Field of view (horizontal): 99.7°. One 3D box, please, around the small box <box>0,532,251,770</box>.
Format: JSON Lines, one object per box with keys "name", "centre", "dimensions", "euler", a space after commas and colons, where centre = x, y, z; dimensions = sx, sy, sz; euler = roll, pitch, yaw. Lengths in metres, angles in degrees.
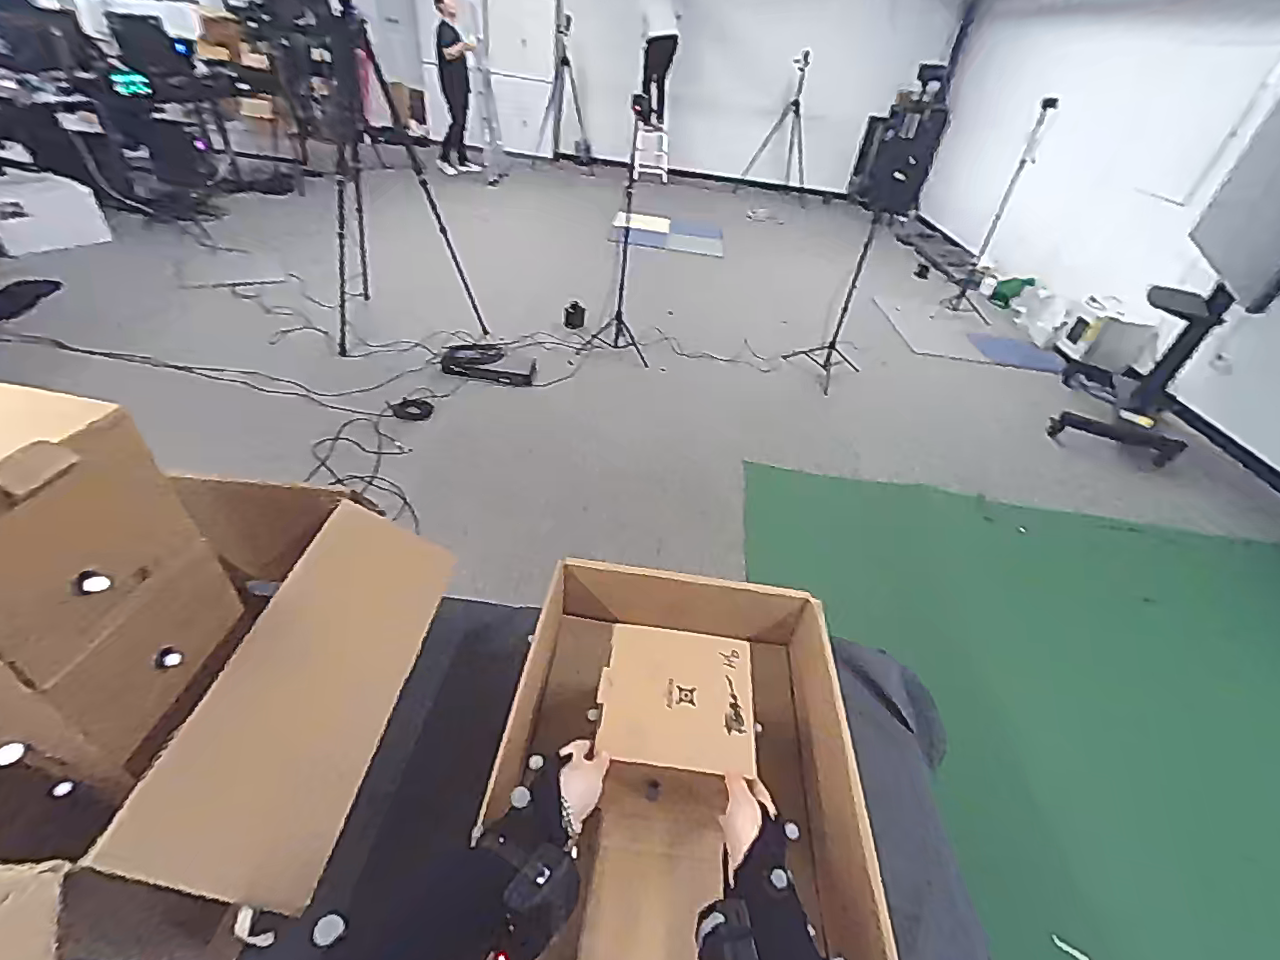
{"name": "small box", "centre": [-0.536, 0.156, 0.543], "dimensions": [0.168, 0.176, 0.179], "euler": [10, 41, 1]}
